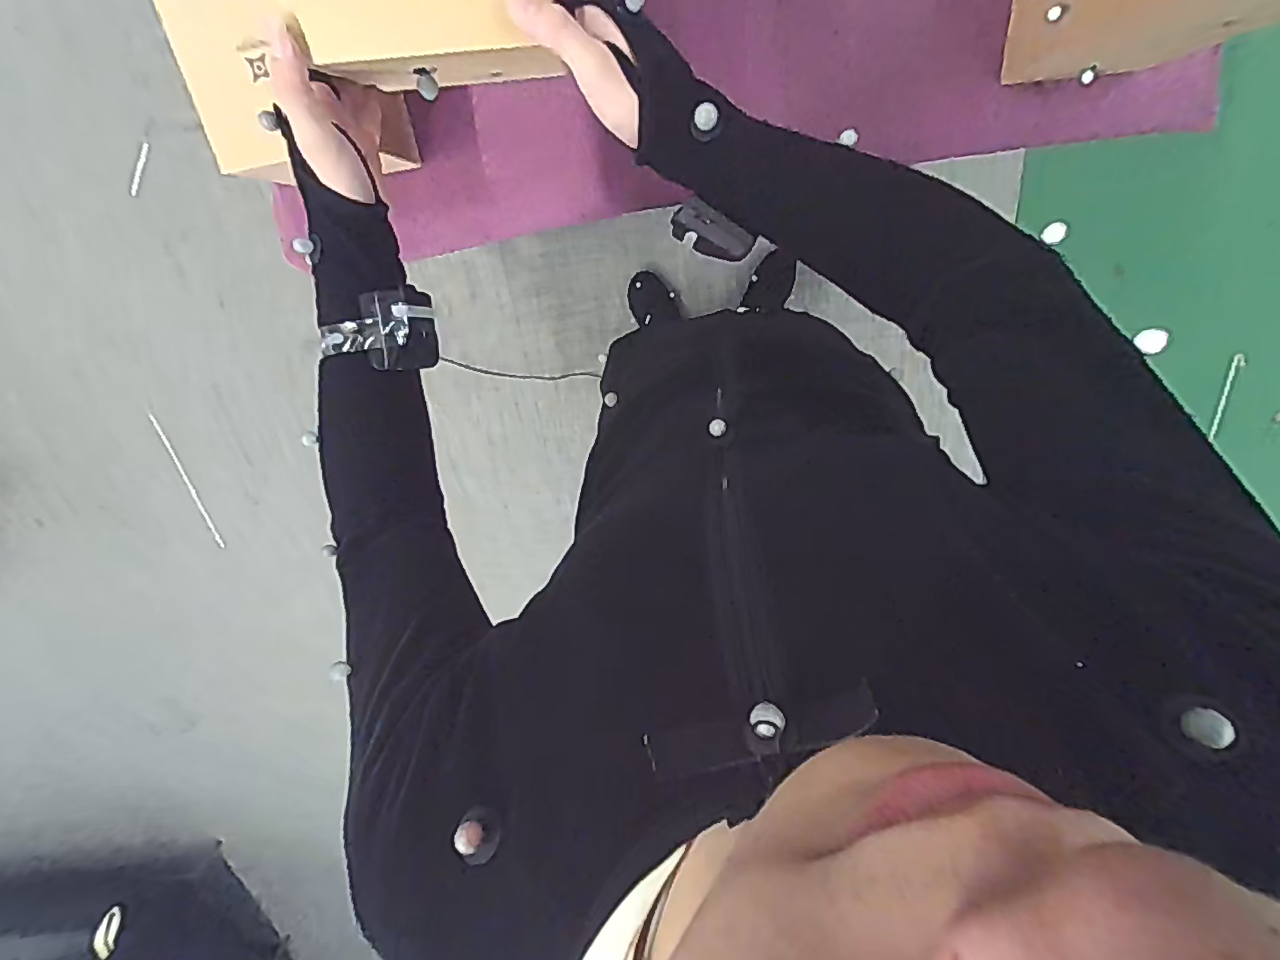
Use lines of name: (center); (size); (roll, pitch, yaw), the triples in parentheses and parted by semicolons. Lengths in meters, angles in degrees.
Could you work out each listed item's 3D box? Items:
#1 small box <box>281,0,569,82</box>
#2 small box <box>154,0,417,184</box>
small box: (-0.144, -0.386, 0.367); (0.168, 0.176, 0.179); (-6, 121, 0)
small box: (-0.389, -0.460, 0.624); (0.168, 0.176, 0.179); (-7, 113, 5)
